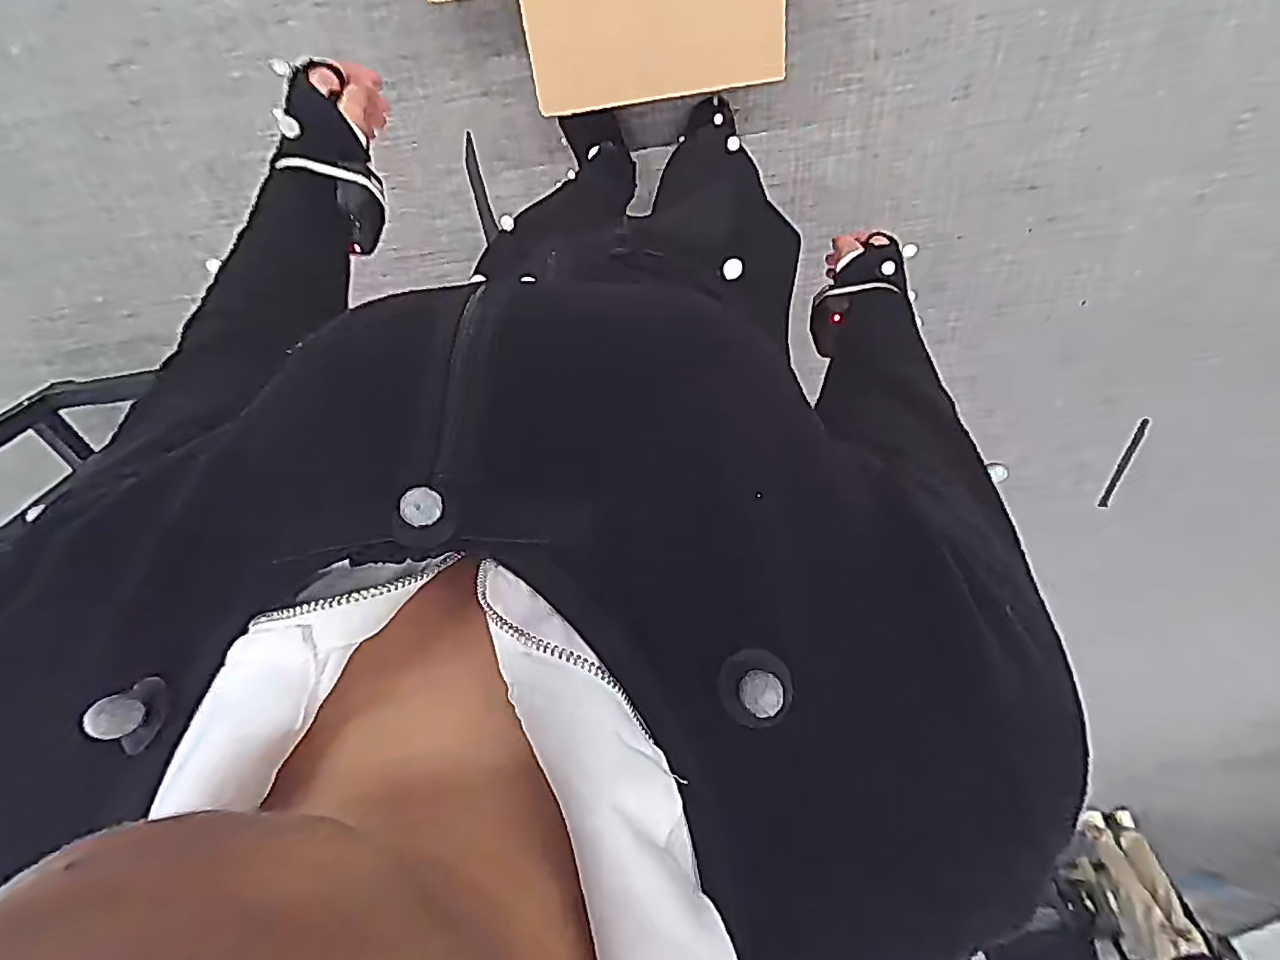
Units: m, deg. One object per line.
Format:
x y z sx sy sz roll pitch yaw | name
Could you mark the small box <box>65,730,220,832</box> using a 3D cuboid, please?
-1.172 0.713 1.292 0.168 0.176 0.179 -5 129 4 | small box
